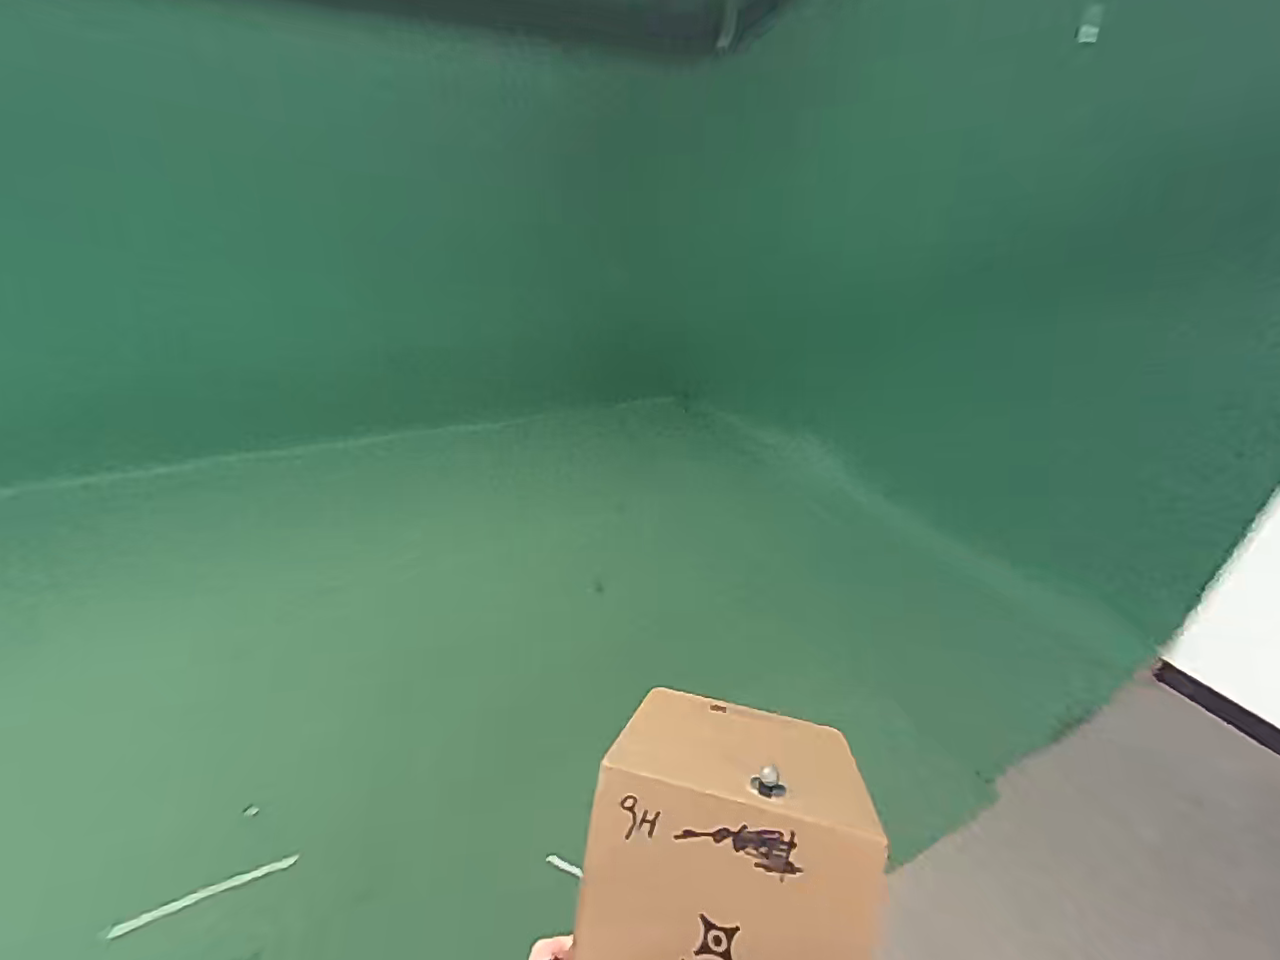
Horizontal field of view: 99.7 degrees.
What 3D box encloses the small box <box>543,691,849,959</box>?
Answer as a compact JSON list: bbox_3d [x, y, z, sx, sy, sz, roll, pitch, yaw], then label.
[{"bbox_3d":[0.042,0.278,0.389,0.168,0.179,0.176,8,-2,13],"label":"small box"}]
